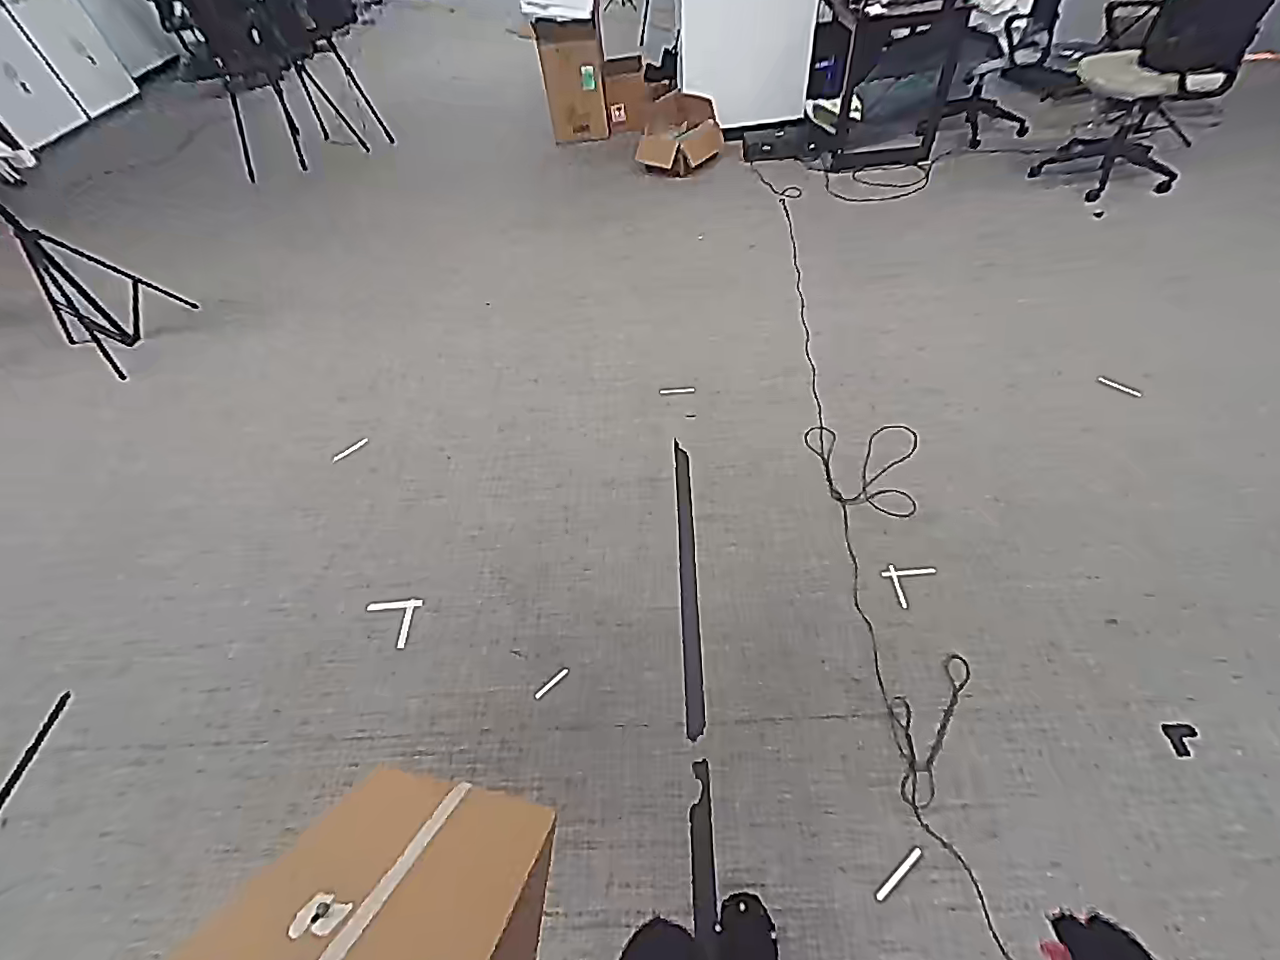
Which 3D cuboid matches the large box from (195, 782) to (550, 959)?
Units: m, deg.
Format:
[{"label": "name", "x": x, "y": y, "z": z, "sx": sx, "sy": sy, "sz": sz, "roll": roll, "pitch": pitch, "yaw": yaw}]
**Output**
[{"label": "large box", "x": -0.337, "y": 0.682, "z": 0.696, "sx": 0.320, "sy": 0.408, "sz": 0.320, "roll": 8, "pitch": 94, "yaw": 8}]
